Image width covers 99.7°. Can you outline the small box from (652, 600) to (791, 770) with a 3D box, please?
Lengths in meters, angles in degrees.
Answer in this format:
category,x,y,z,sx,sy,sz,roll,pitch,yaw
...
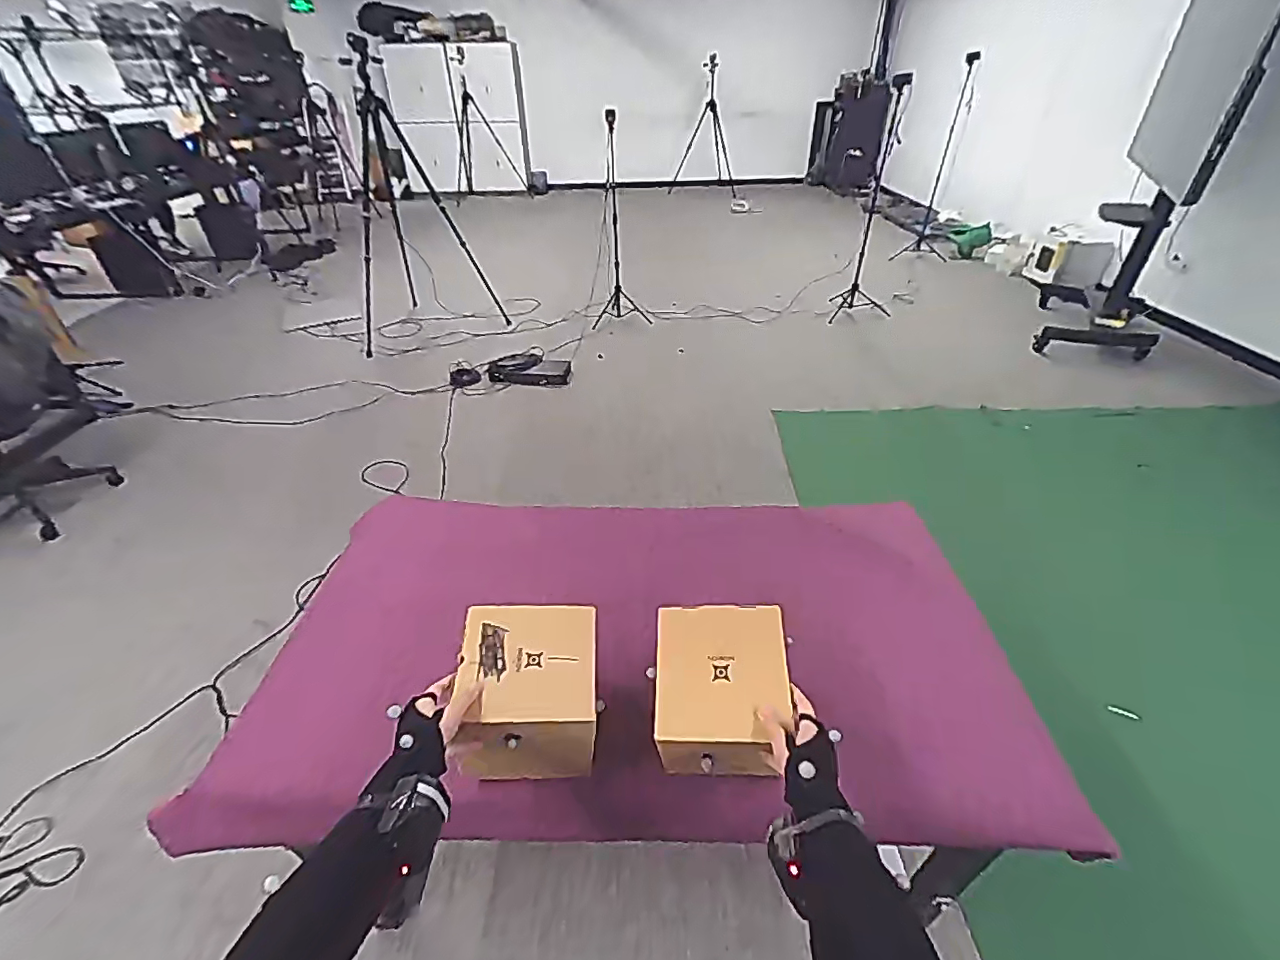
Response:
category,x,y,z,sx,sy,sz,roll,pitch,yaw
small box,0.110,0.283,0.742,0.168,0.176,0.179,-2,47,7
